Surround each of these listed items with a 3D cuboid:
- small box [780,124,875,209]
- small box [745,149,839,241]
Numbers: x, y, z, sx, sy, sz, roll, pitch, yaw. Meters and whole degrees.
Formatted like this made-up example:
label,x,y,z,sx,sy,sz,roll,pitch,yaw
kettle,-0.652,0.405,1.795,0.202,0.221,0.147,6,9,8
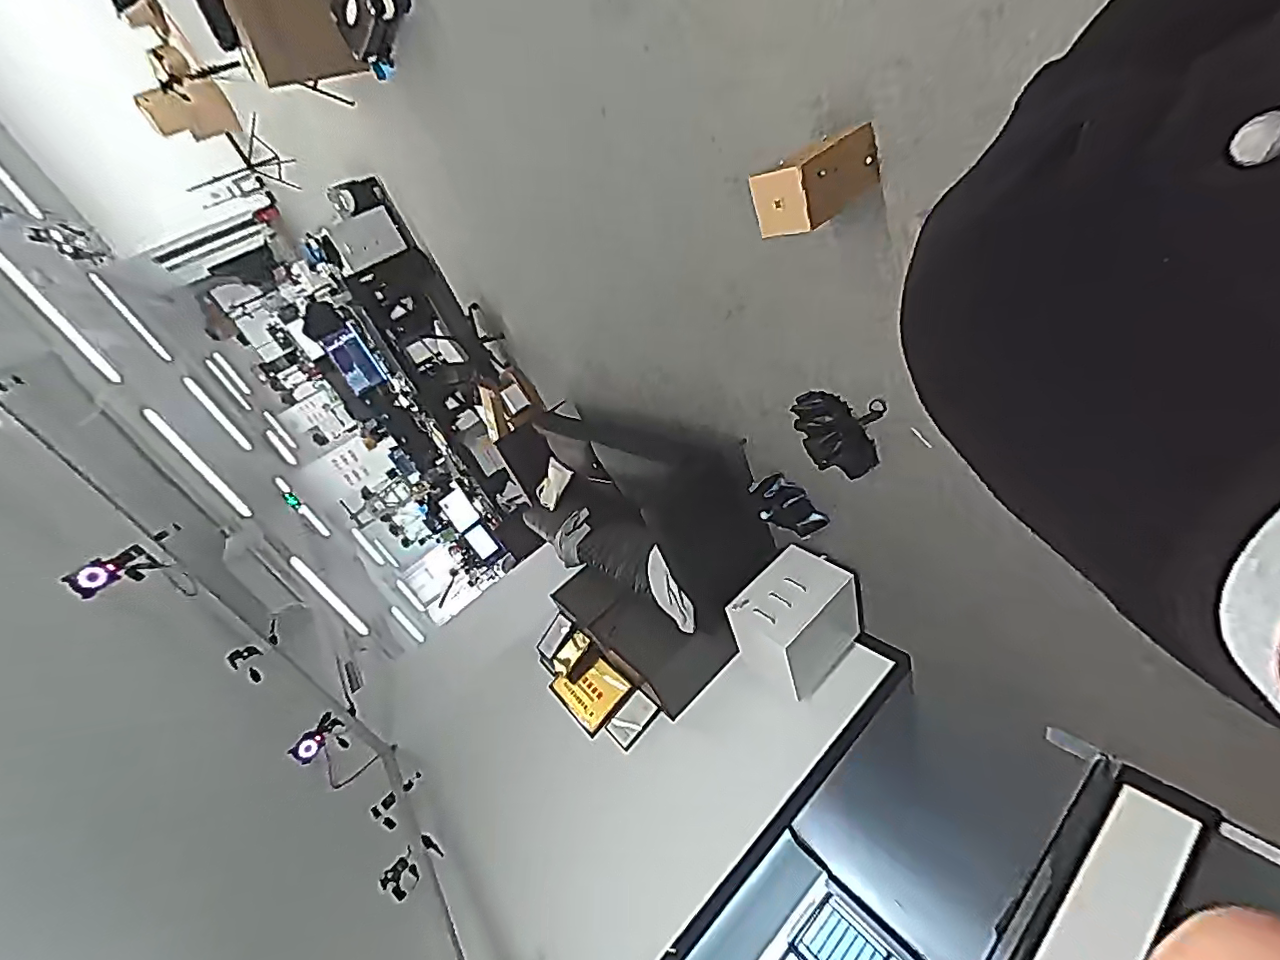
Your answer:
label,x,y,z,sx,sy,sz,roll,pitch,yaw
small box,0.540,-0.886,1.554,0.179,0.176,0.168,20,145,52
small box,0.428,-0.785,1.495,0.179,0.176,0.168,24,147,52
